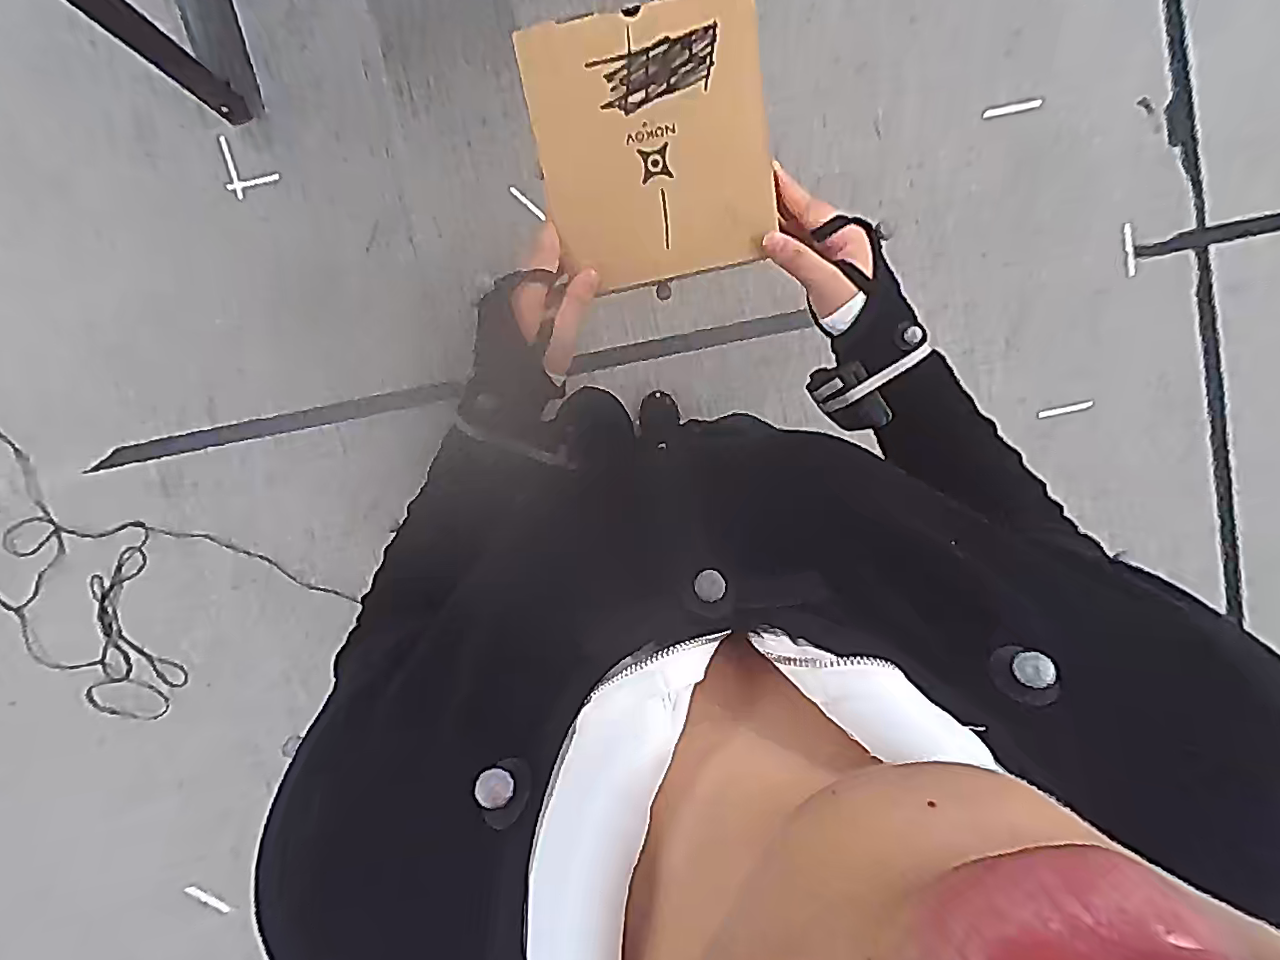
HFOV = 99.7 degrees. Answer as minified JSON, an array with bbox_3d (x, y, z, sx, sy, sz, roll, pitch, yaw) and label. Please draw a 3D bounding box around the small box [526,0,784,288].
[{"bbox_3d":[0.015,-0.271,0.465,0.168,0.176,0.179,-10,109,4],"label":"small box"}]
